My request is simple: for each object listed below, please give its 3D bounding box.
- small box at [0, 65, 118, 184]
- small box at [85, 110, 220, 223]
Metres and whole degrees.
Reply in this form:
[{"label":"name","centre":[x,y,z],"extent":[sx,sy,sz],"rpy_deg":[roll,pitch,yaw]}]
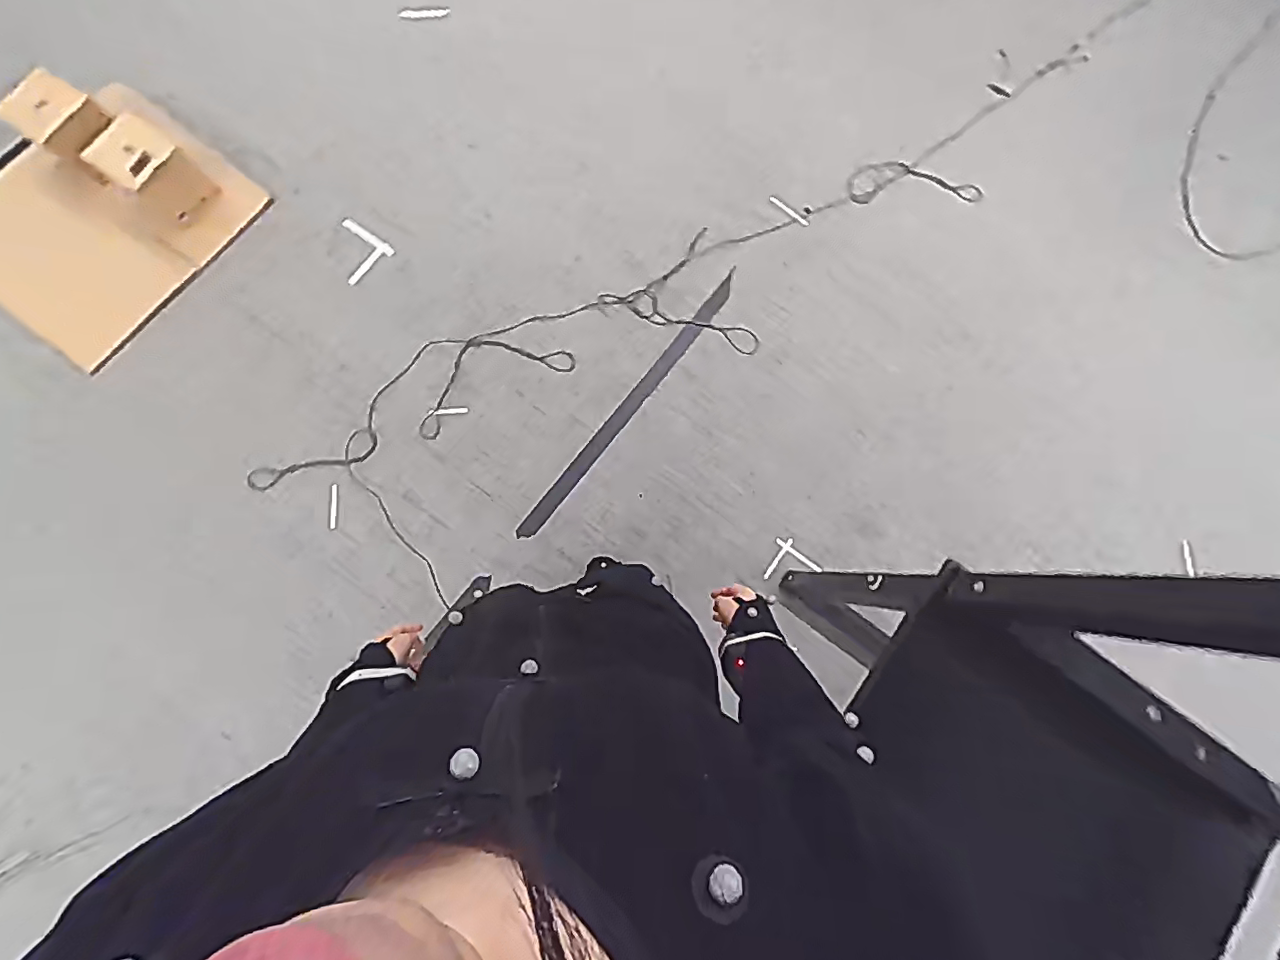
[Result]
[{"label":"small box","centre":[-1.539,-0.961,1.474],"extent":[0.168,0.176,0.179],"rpy_deg":[32,81,2]},{"label":"small box","centre":[-1.310,-0.838,1.470],"extent":[0.179,0.176,0.168],"rpy_deg":[34,80,2]}]
